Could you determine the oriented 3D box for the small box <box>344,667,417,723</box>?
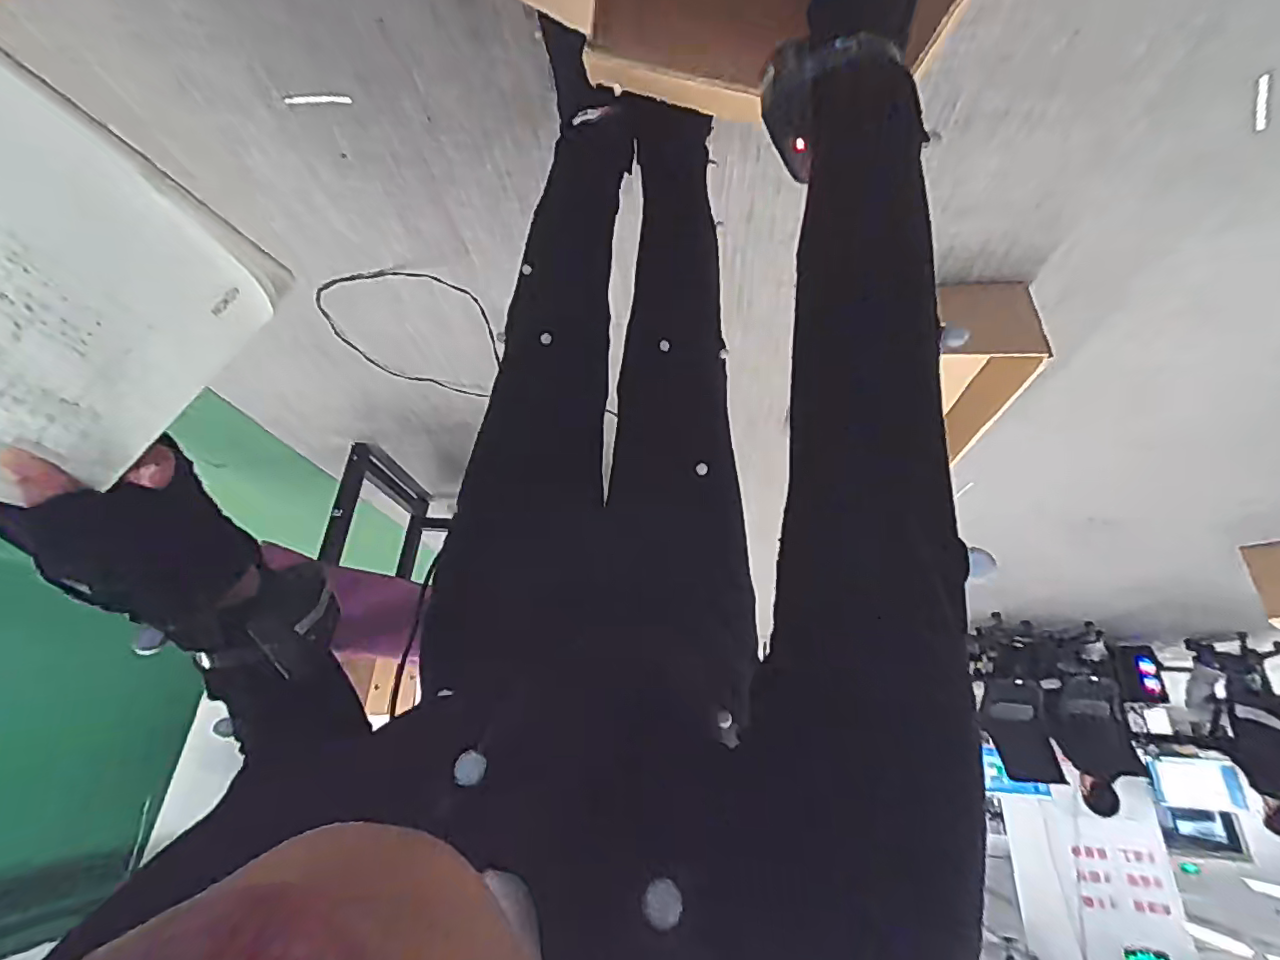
[{"bbox_3d":[-0.907,0.757,1.902,0.168,0.176,0.179,5,154,-3],"label":"small box"}]
